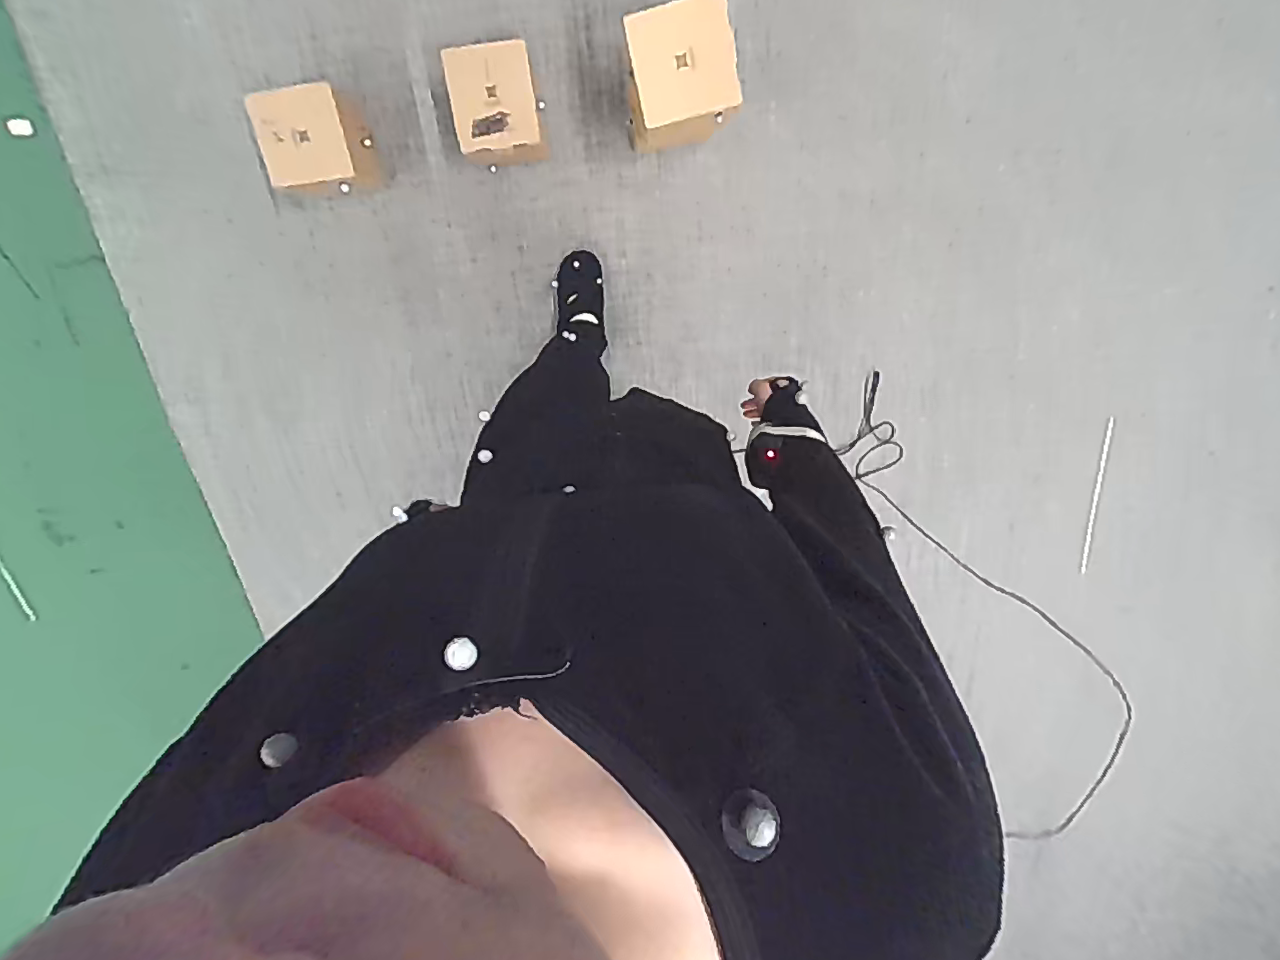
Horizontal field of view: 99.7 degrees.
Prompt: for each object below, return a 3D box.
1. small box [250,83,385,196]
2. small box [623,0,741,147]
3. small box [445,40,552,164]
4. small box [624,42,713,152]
[{"bbox_3d":[-0.671,-0.718,1.156,0.179,0.176,0.168,-7,110,1],"label":"small box"},{"bbox_3d":[0.074,-0.735,0.989,0.179,0.176,0.168,-13,111,4],"label":"small box"},{"bbox_3d":[-0.287,-0.781,1.138,0.168,0.176,0.179,-6,110,1],"label":"small box"},{"bbox_3d":[0.066,-0.807,1.135,0.179,0.176,0.168,-9,112,2],"label":"small box"}]
